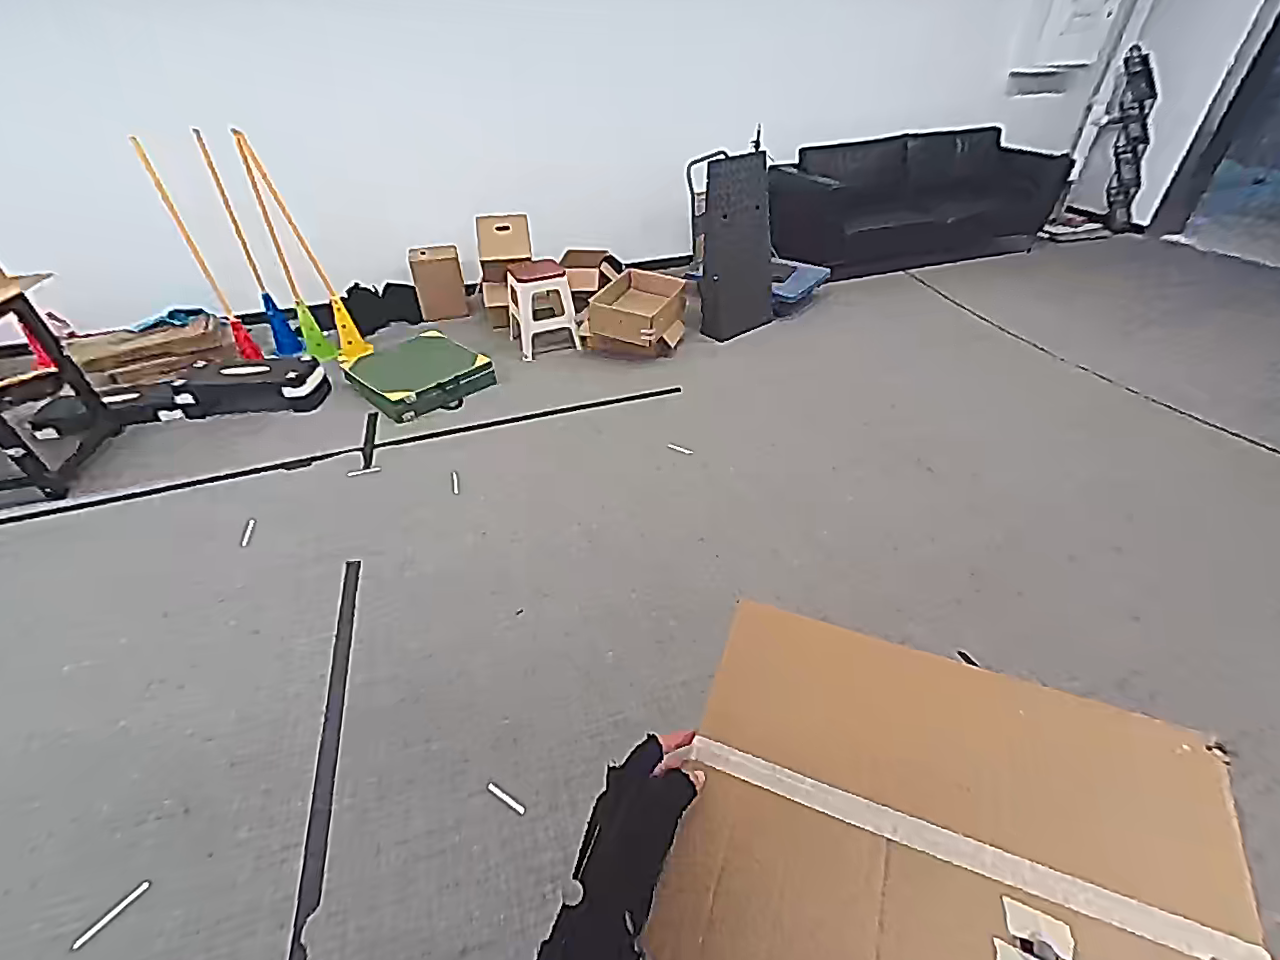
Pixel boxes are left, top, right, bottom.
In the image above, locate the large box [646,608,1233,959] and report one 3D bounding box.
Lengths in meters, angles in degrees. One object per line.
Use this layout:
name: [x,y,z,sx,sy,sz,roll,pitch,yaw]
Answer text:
large box: [0.255,0.386,0.563,0.408,0.320,0.320,13,55,19]
